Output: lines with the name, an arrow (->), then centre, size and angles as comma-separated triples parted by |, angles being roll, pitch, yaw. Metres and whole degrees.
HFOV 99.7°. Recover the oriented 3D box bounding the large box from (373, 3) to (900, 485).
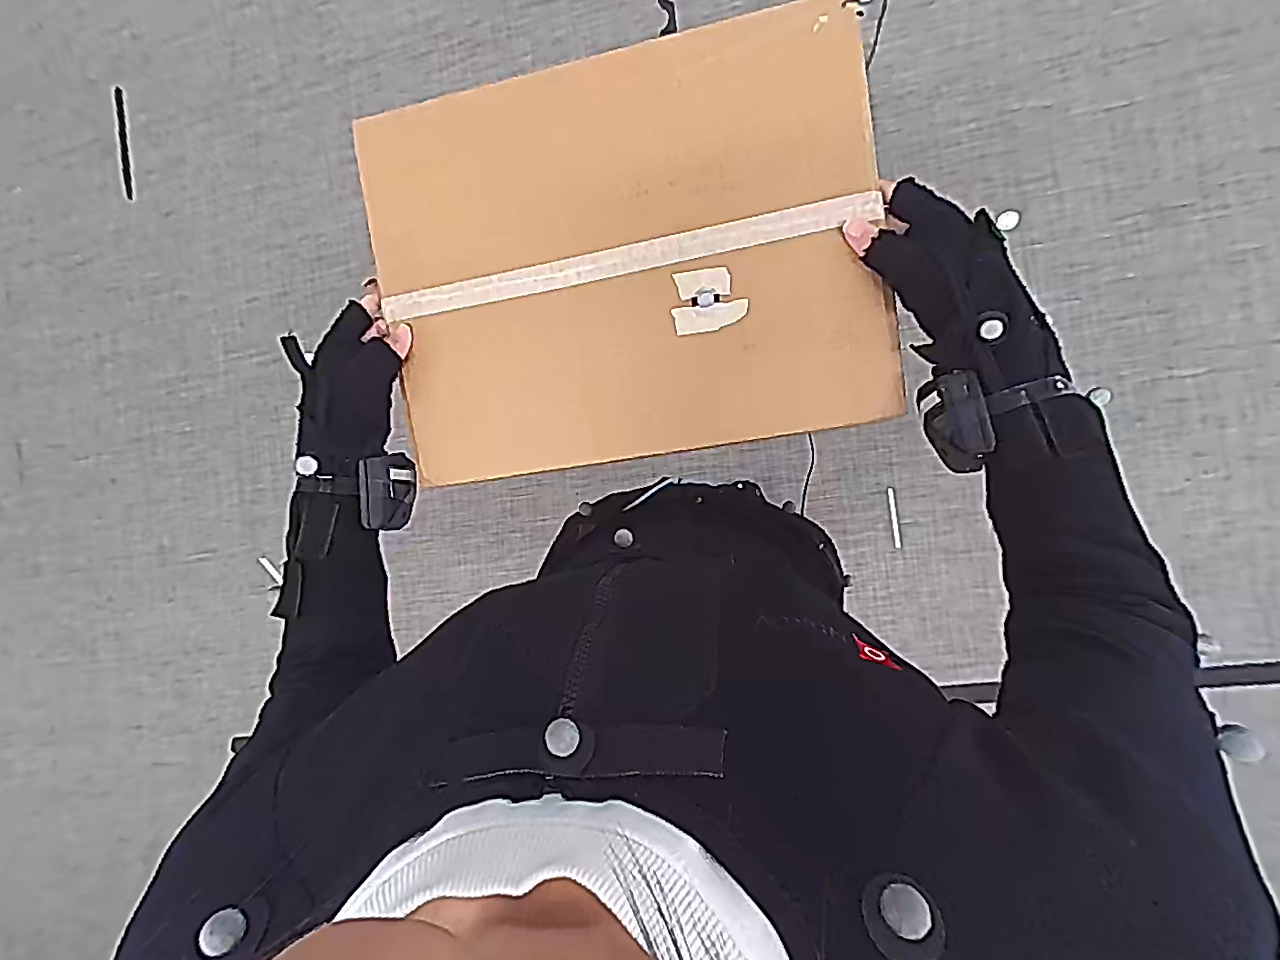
large box -> 0.005, -0.190, 0.591 | 0.408, 0.320, 0.320 | -9, 95, 8
